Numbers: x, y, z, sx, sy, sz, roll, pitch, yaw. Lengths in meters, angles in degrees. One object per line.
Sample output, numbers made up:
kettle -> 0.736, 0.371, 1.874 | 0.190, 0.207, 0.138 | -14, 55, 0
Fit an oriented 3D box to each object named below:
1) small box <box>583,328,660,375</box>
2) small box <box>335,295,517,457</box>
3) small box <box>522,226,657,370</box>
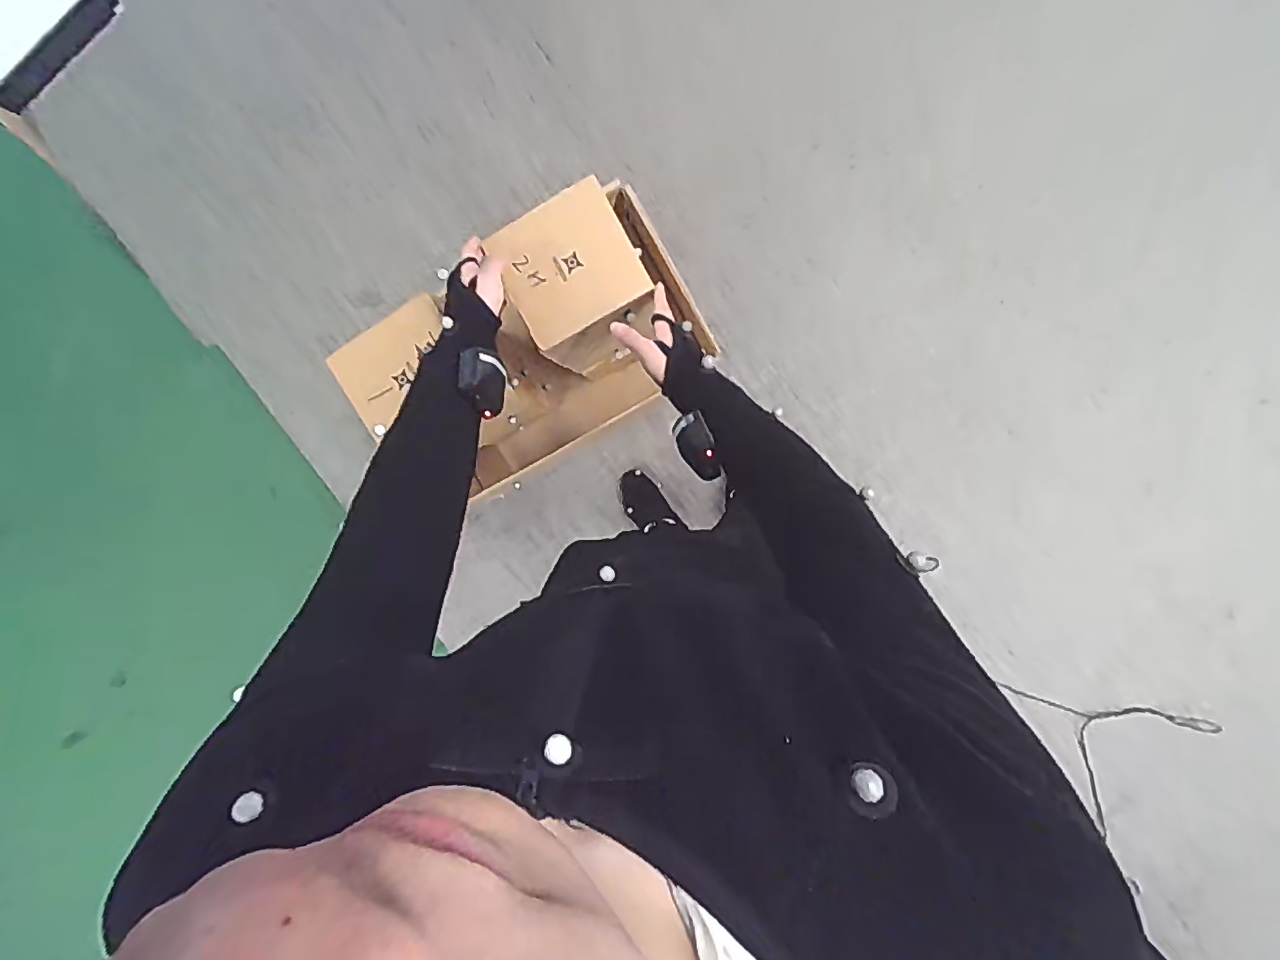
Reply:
small box -> -0.064, -0.327, 1.119 | 0.168, 0.176, 0.179 | -24, 93, 6
small box -> -0.308, -0.151, 0.829 | 0.179, 0.176, 0.168 | -30, 92, 7
small box -> -0.079, -0.310, 0.959 | 0.179, 0.176, 0.168 | -25, 93, 7
